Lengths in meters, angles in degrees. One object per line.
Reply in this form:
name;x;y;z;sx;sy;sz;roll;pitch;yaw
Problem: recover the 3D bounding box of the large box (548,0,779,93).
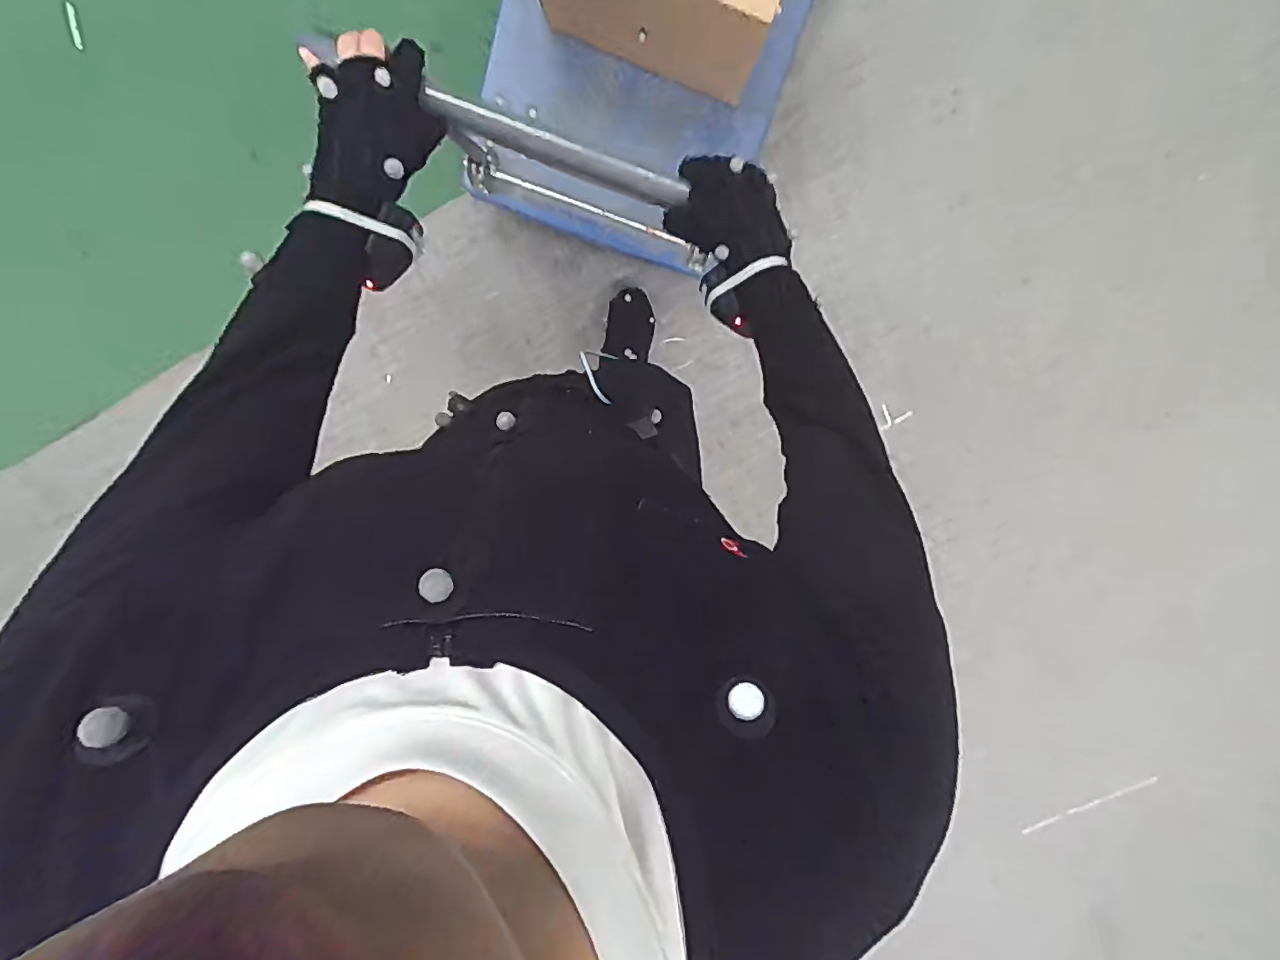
large box;0.063;-0.934;0.896;0.408;0.320;0.320;19;104;-4
